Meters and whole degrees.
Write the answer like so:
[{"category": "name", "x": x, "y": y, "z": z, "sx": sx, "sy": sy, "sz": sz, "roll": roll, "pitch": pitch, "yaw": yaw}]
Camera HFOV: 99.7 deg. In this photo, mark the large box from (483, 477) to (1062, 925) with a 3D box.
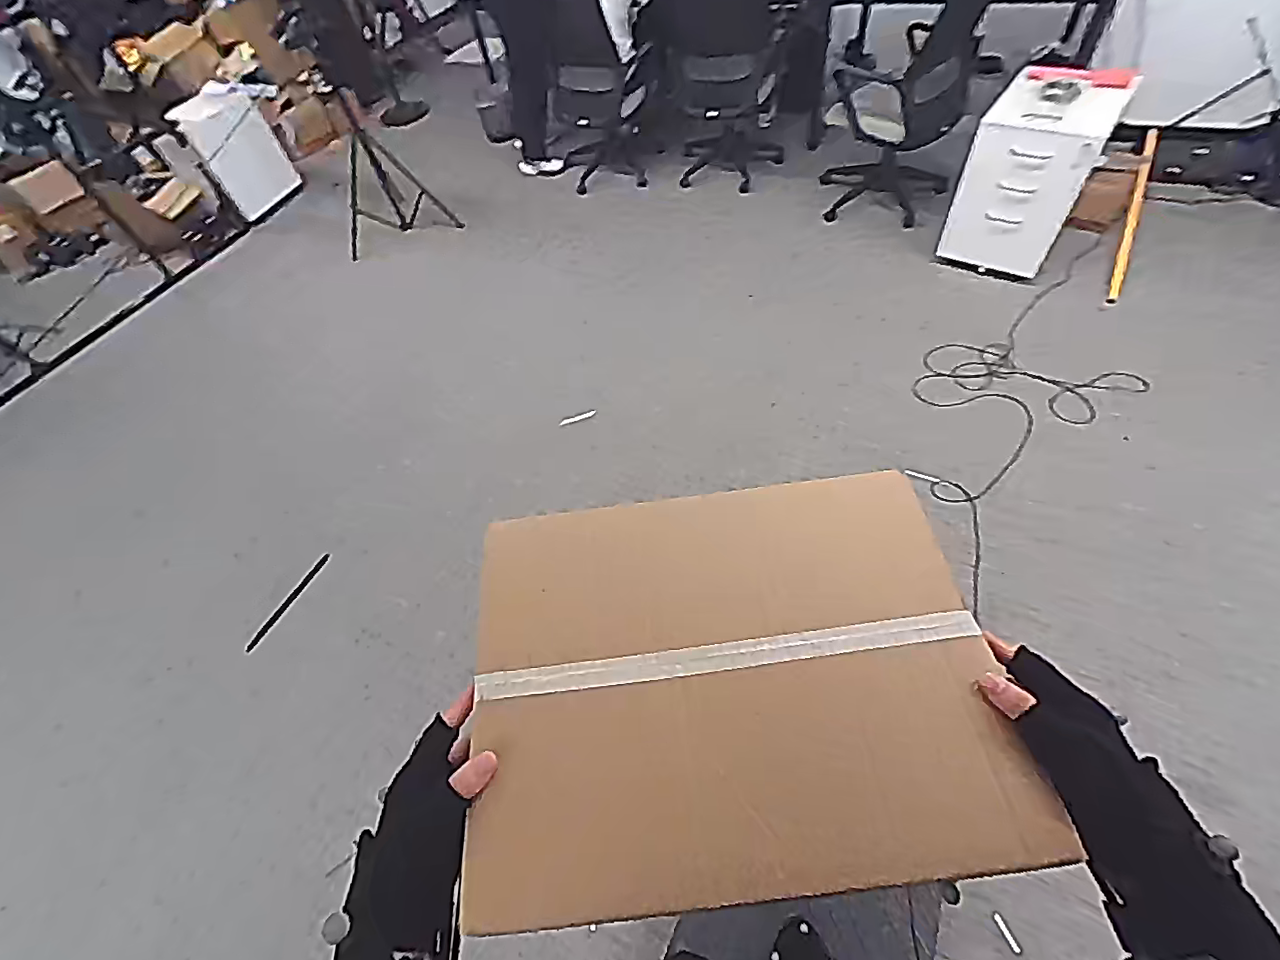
[{"category": "large box", "x": 0.089, "y": 0.231, "z": 0.569, "sx": 0.408, "sy": 0.320, "sz": 0.320, "roll": -8, "pitch": 54, "yaw": 1}]
